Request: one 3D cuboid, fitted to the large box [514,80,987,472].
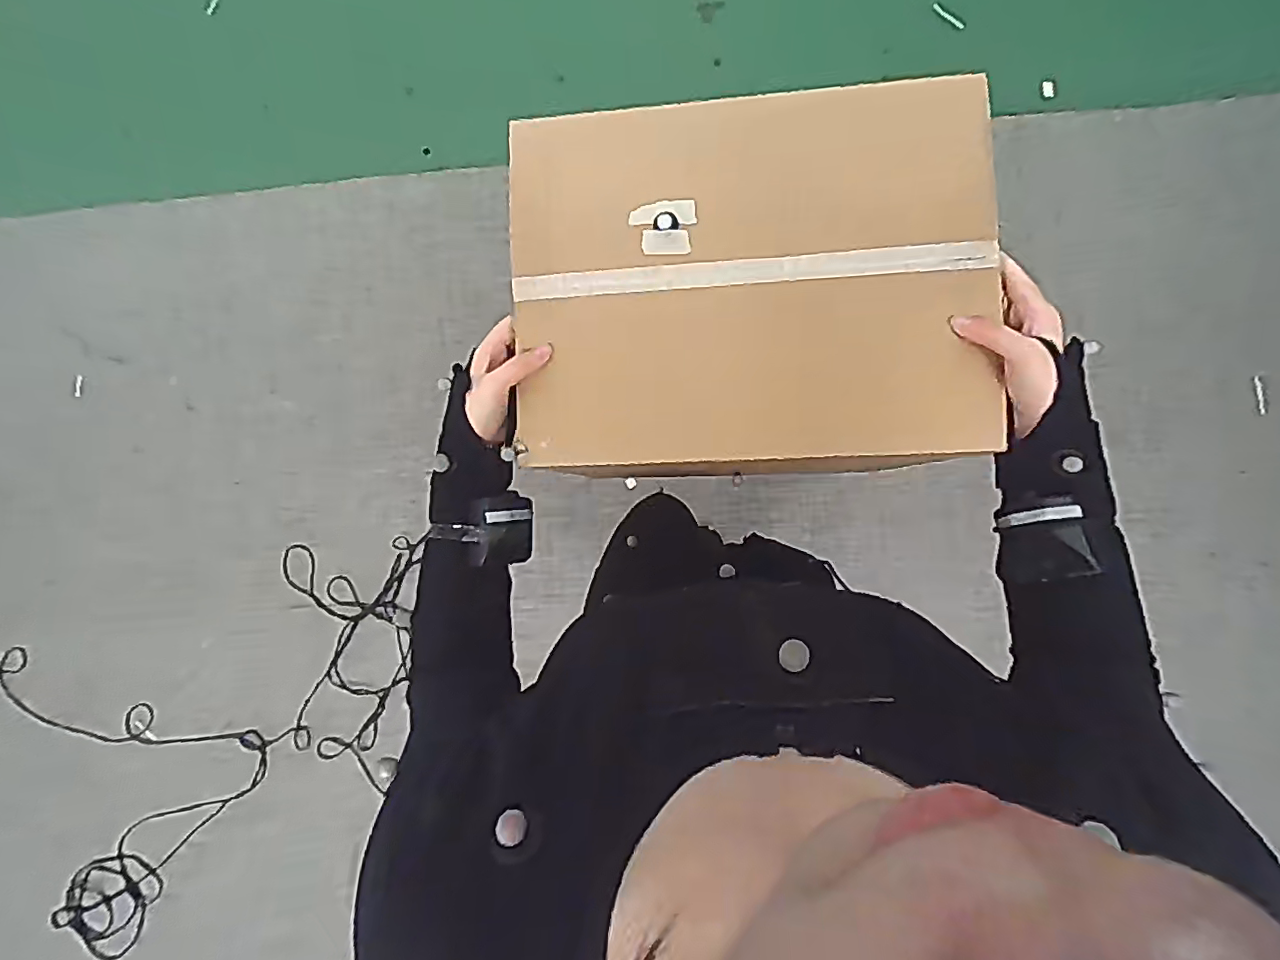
[{"bbox_3d":[0.106,-0.173,0.622,0.408,0.320,0.320,-2,88,8],"label":"large box"}]
